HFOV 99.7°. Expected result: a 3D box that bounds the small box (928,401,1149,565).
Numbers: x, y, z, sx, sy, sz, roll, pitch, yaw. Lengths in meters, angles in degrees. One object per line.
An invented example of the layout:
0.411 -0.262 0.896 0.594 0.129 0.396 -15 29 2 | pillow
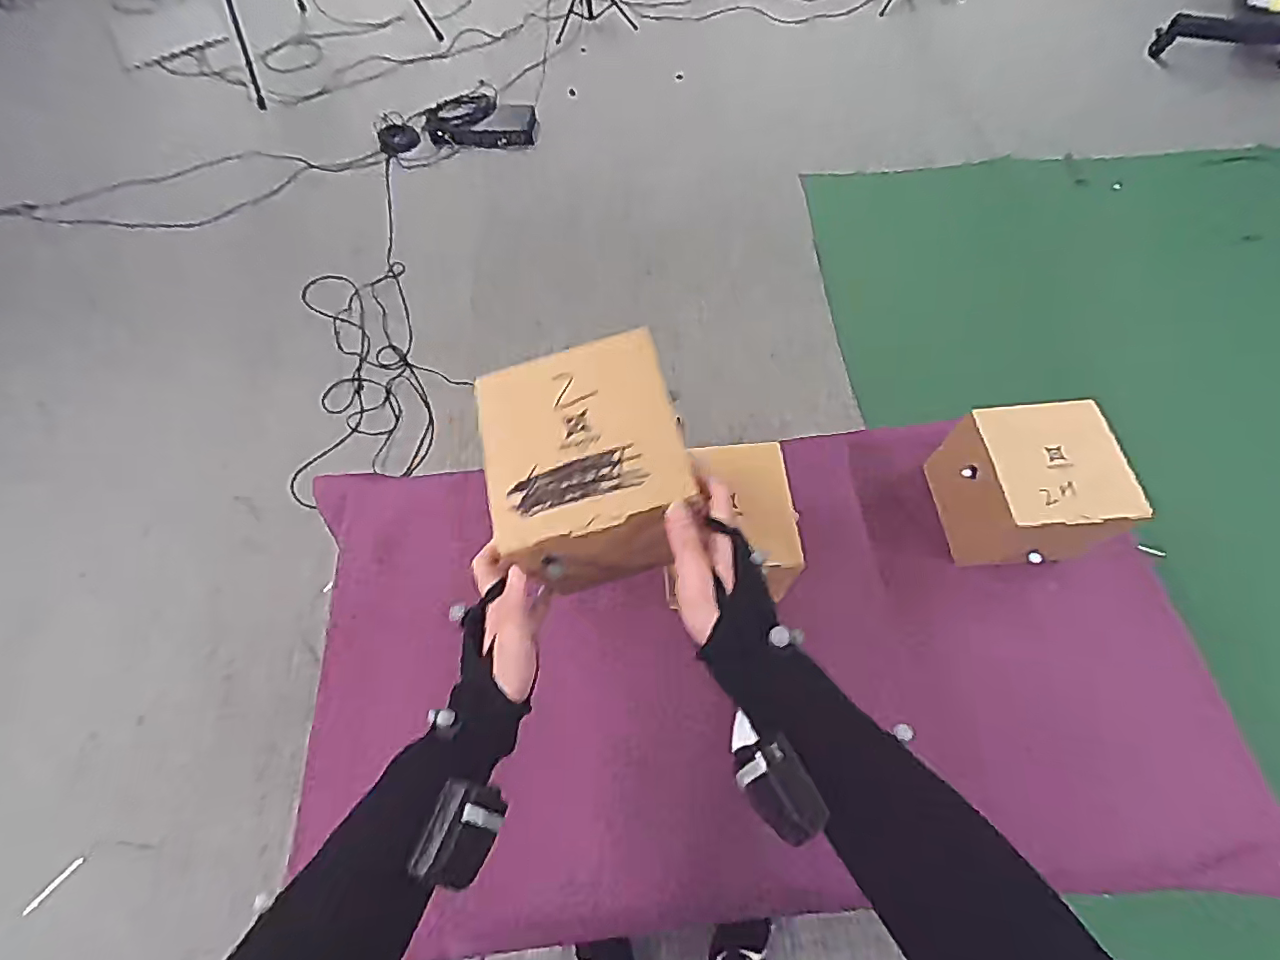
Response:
0.540 0.009 0.768 0.168 0.176 0.179 -4 64 2 | small box

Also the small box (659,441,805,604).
0.115 0.064 0.760 0.168 0.176 0.179 -4 65 -1 | small box
